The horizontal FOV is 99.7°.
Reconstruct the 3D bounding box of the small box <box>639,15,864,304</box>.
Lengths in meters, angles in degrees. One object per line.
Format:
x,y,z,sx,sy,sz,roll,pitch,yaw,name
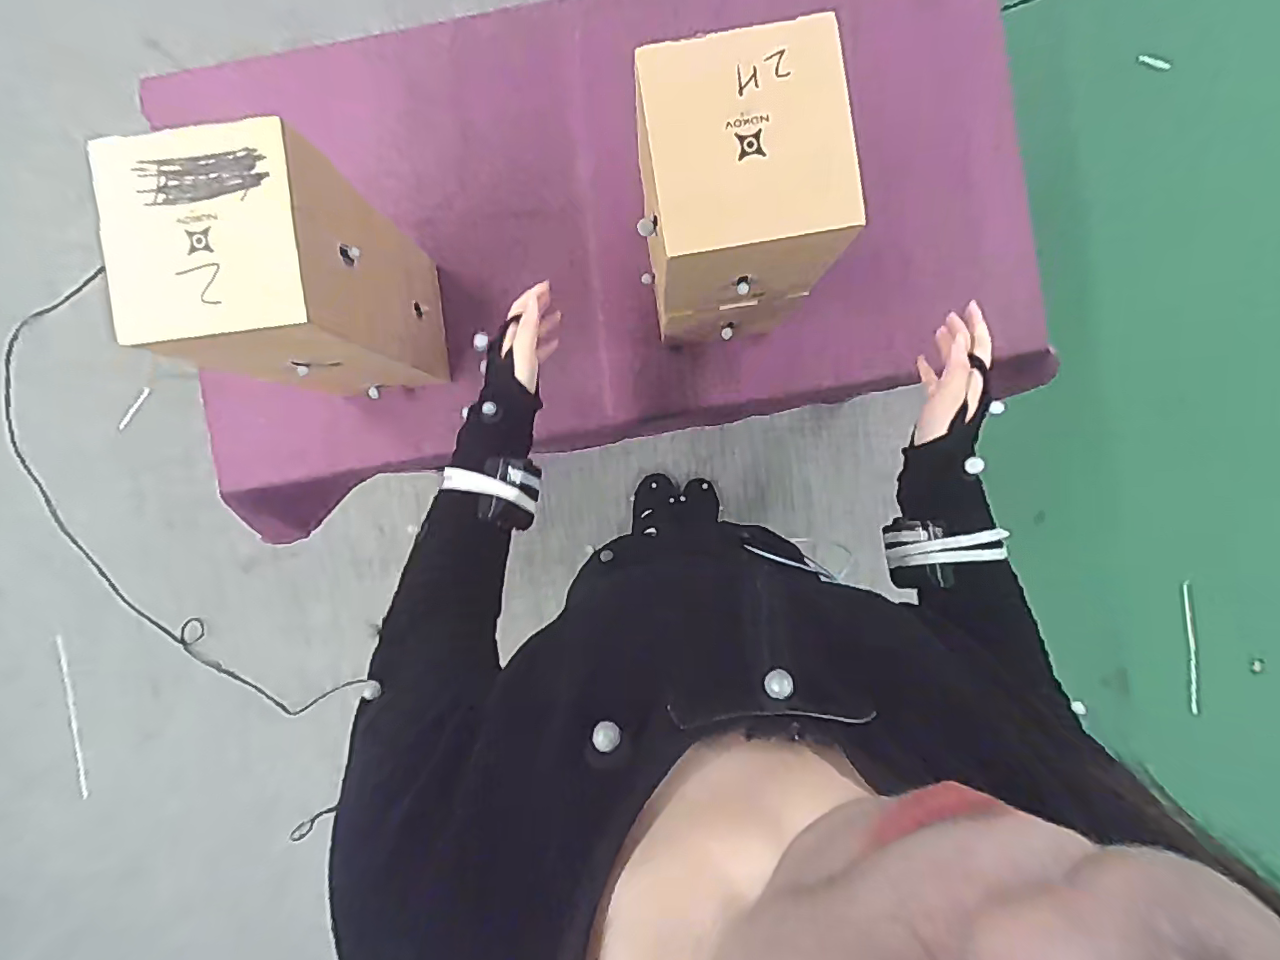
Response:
0.094,-0.281,0.520,0.168,0.176,0.179,-9,91,1,small box

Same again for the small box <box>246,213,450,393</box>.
-0.361,-0.215,0.699,0.168,0.176,0.179,-6,93,1,small box

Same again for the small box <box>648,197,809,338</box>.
0.102,-0.287,0.686,0.168,0.176,0.179,-8,92,1,small box
